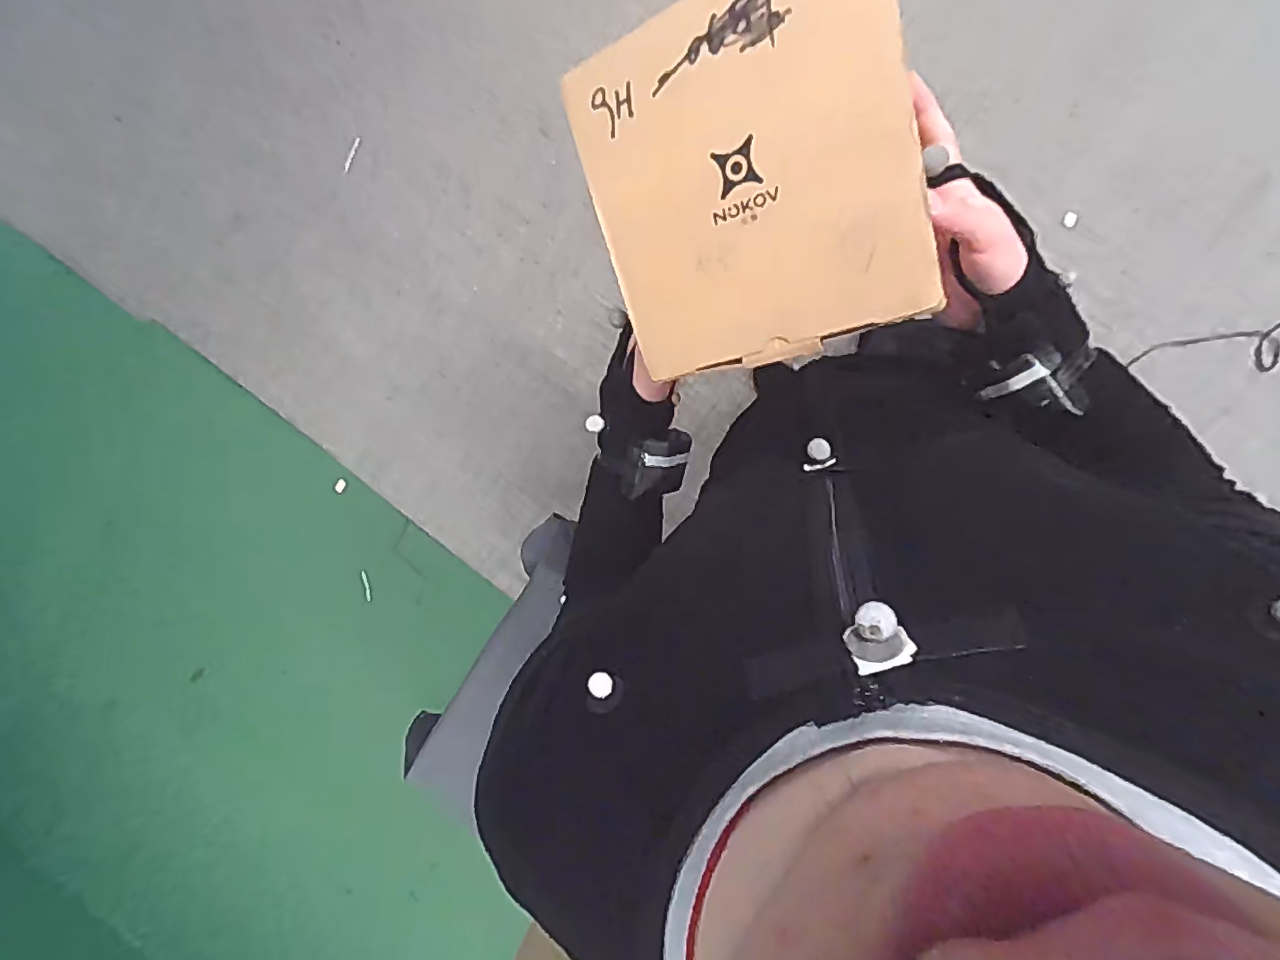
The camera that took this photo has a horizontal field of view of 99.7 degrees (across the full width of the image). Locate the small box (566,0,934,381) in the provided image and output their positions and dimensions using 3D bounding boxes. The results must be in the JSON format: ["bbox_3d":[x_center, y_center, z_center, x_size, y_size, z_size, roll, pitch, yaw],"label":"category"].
[{"bbox_3d":[0.087,-0.184,0.349,0.168,0.176,0.179,-10,108,30],"label":"small box"}]
